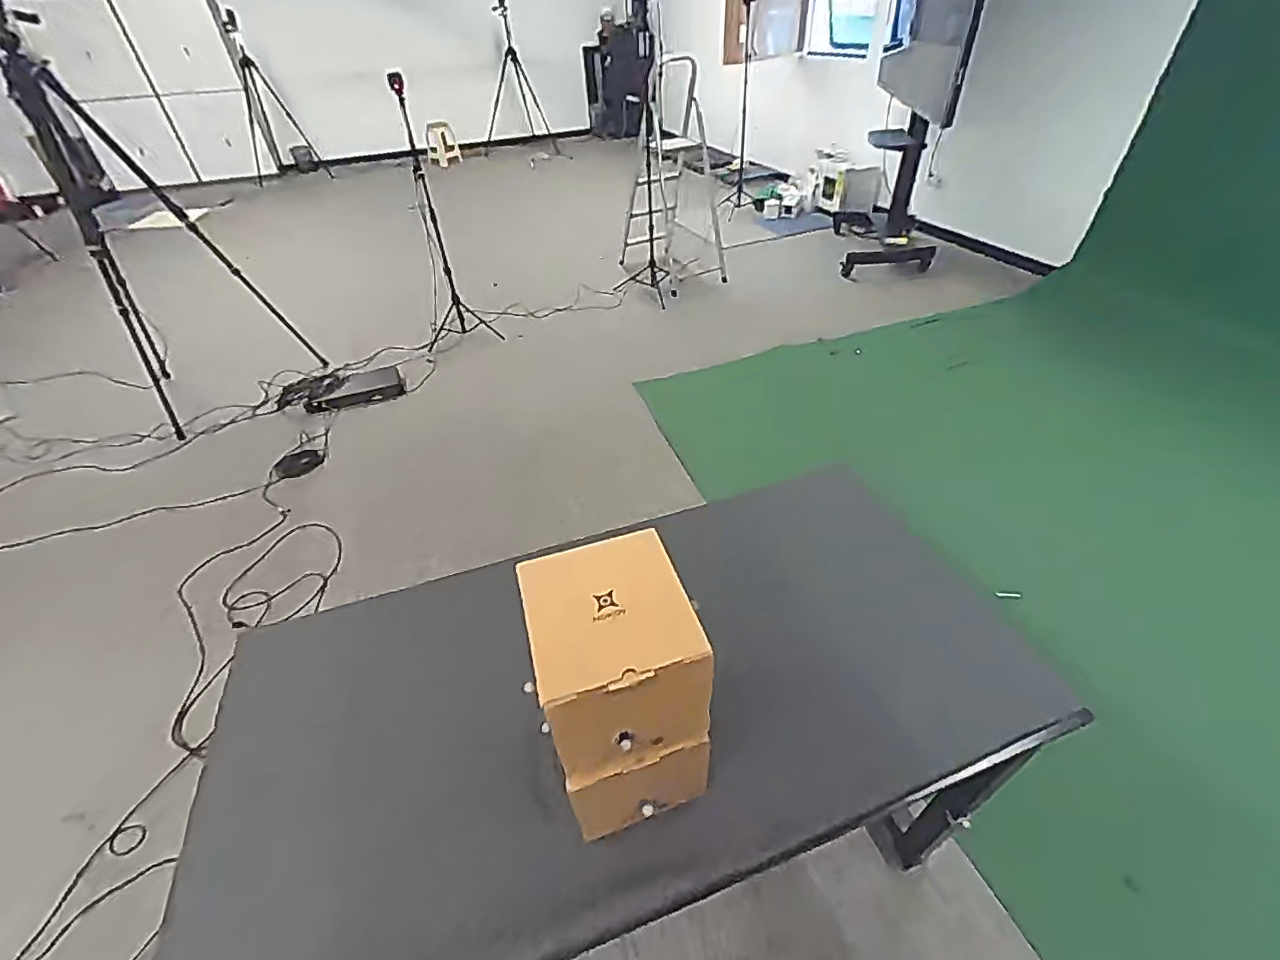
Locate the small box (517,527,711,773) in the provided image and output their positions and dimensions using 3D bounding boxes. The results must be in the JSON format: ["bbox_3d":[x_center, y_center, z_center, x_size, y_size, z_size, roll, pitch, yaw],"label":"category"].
[{"bbox_3d":[-0.033,0.185,0.603,0.168,0.176,0.179,-14,42,-12],"label":"small box"}]

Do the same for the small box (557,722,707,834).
[{"bbox_3d":[-0.024,0.314,0.700,0.168,0.176,0.179,-15,42,-12],"label":"small box"}]
